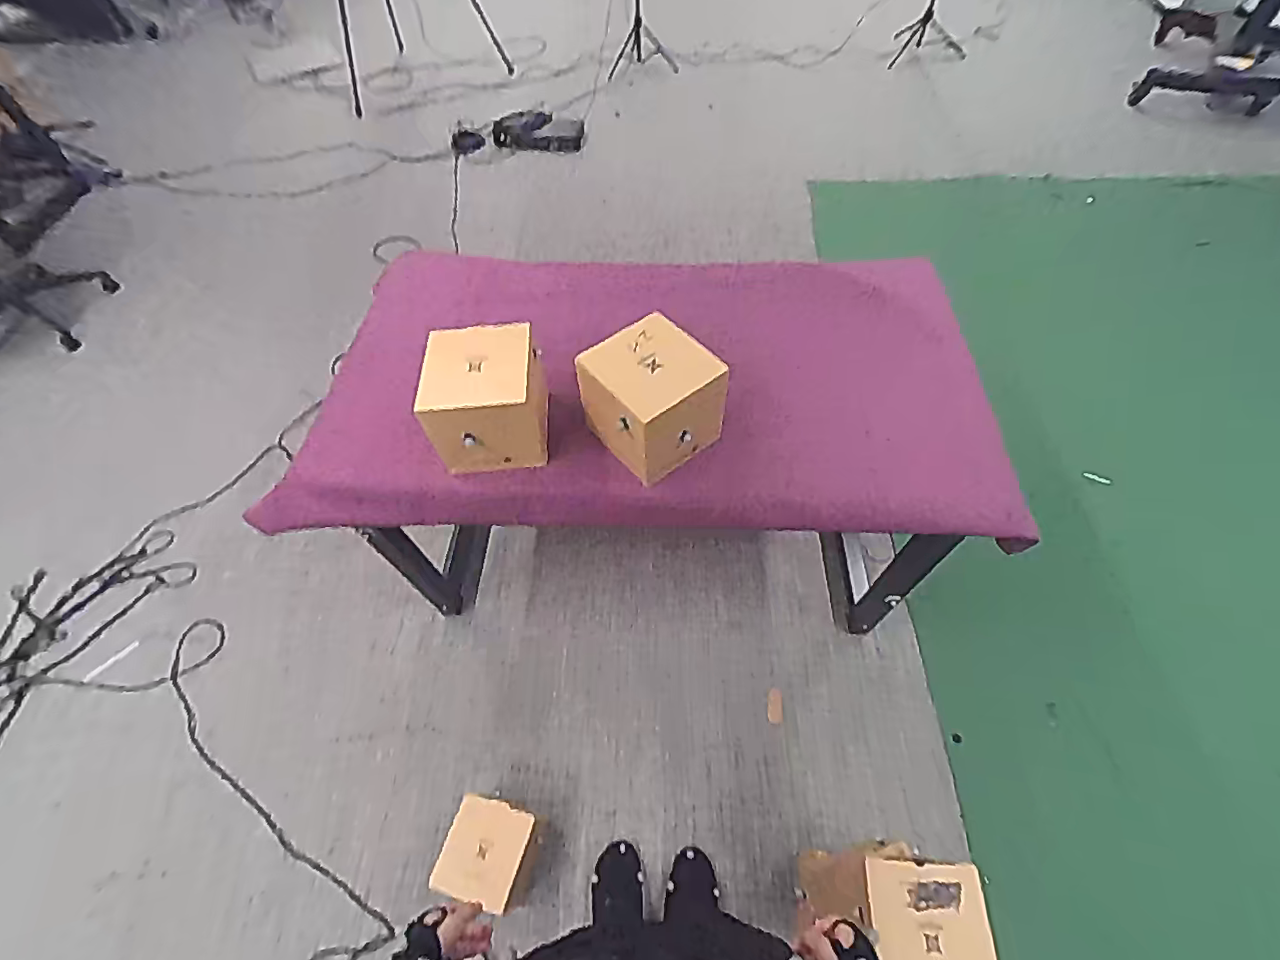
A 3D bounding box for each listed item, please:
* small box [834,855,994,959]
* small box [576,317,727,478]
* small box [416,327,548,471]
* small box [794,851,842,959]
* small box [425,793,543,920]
[{"bbox_3d":[0.404,0.681,0.818,0.168,0.176,0.179,3,58,3],"label":"small box"},{"bbox_3d":[0.019,-0.125,0.884,0.168,0.176,0.179,-34,61,-19],"label":"small box"},{"bbox_3d":[-0.249,-0.126,0.897,0.168,0.176,0.179,-5,55,-1],"label":"small box"},{"bbox_3d":[0.415,0.868,1.089,0.179,0.176,0.168,9,58,9],"label":"small box"},{"bbox_3d":[-0.321,0.800,1.162,0.168,0.176,0.179,14,59,12],"label":"small box"}]
